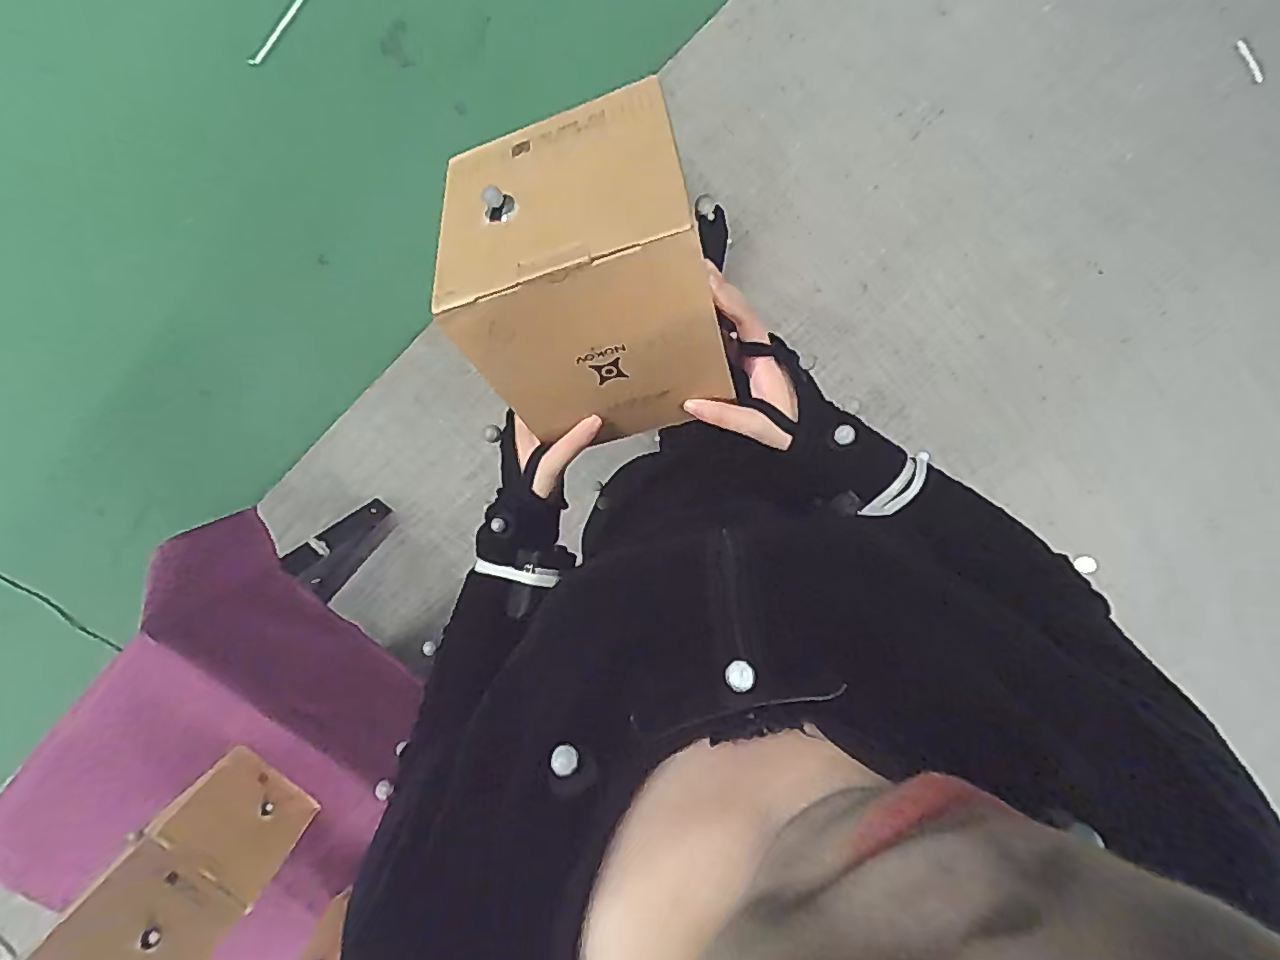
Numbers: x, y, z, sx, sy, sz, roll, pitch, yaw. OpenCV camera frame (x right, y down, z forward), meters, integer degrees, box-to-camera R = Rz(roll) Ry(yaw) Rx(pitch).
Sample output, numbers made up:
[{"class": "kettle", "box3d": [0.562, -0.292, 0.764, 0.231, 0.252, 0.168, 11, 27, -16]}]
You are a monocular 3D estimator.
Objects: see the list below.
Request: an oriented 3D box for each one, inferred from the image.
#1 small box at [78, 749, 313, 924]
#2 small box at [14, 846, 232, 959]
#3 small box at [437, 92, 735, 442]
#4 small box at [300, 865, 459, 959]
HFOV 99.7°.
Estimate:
[{"class": "small box", "box3d": [-0.639, 0.549, 0.802, 0.179, 0.176, 0.168, -40, 101, 10]}, {"class": "small box", "box3d": [-0.641, 0.590, 0.642, 0.179, 0.176, 0.168, -41, 100, 10]}, {"class": "small box", "box3d": [-0.033, -0.160, 0.421, 0.168, 0.176, 0.179, -14, 149, 12]}, {"class": "small box", "box3d": [-0.420, 0.765, 0.854, 0.168, 0.176, 0.179, -40, 101, 10]}]
